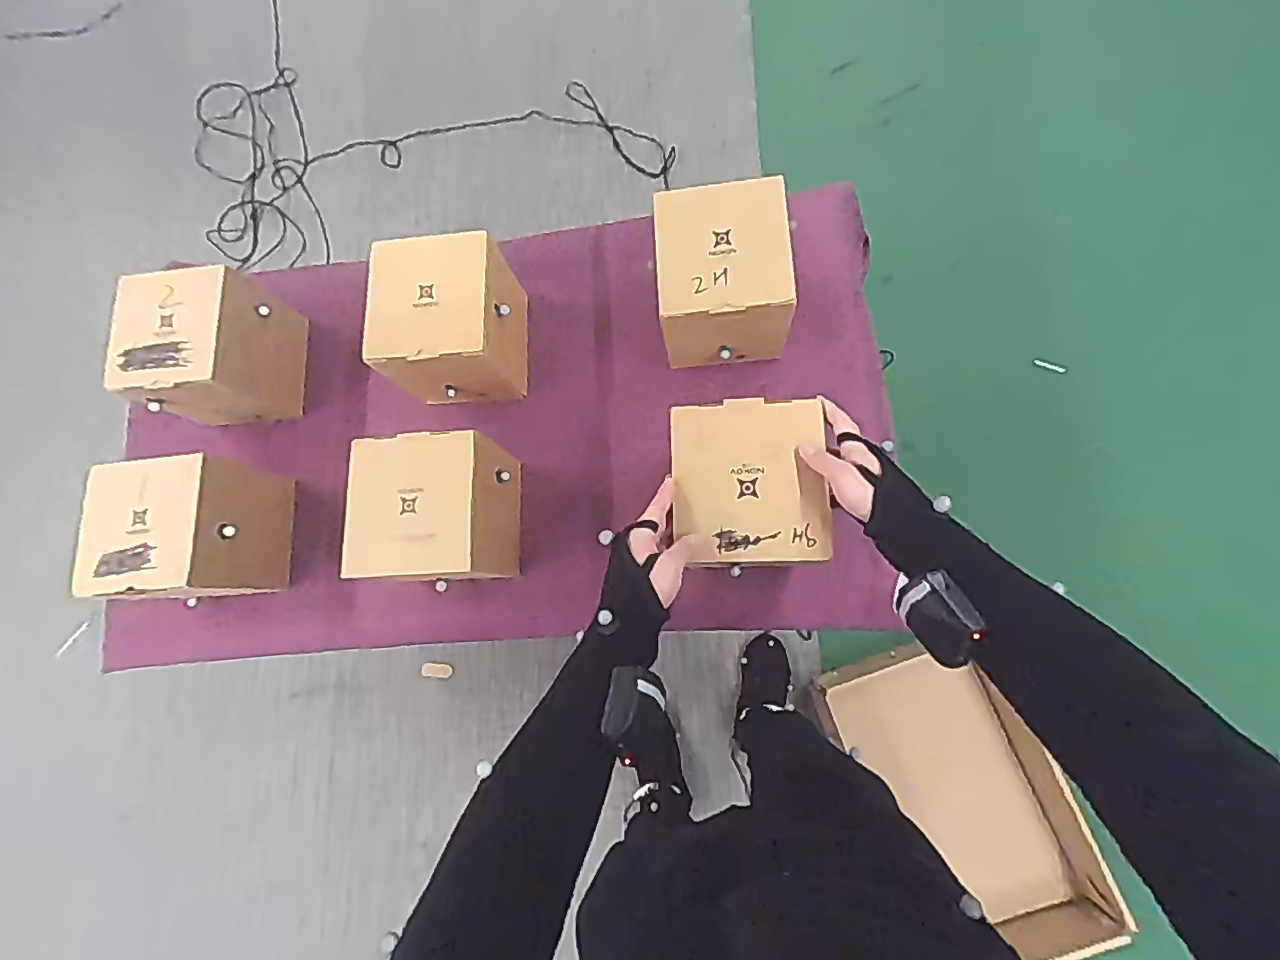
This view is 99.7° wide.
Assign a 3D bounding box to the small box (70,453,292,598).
[{"bbox_3d":[-0.629,0.072,0.764,0.168,0.176,0.179,-5,77,6],"label":"small box"}]

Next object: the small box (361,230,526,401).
[{"bbox_3d":[-0.270,-0.226,0.779,0.168,0.176,0.179,-3,80,7],"label":"small box"}]

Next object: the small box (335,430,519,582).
[{"bbox_3d":[-0.270,0.044,0.724,0.168,0.176,0.179,-3,78,8],"label":"small box"}]

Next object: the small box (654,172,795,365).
[{"bbox_3d":[0.110,-0.274,0.733,0.168,0.176,0.179,-4,79,9],"label":"small box"}]

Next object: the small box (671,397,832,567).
[{"bbox_3d":[0.125,0.013,0.647,0.168,0.176,0.179,-2,80,9],"label":"small box"}]
